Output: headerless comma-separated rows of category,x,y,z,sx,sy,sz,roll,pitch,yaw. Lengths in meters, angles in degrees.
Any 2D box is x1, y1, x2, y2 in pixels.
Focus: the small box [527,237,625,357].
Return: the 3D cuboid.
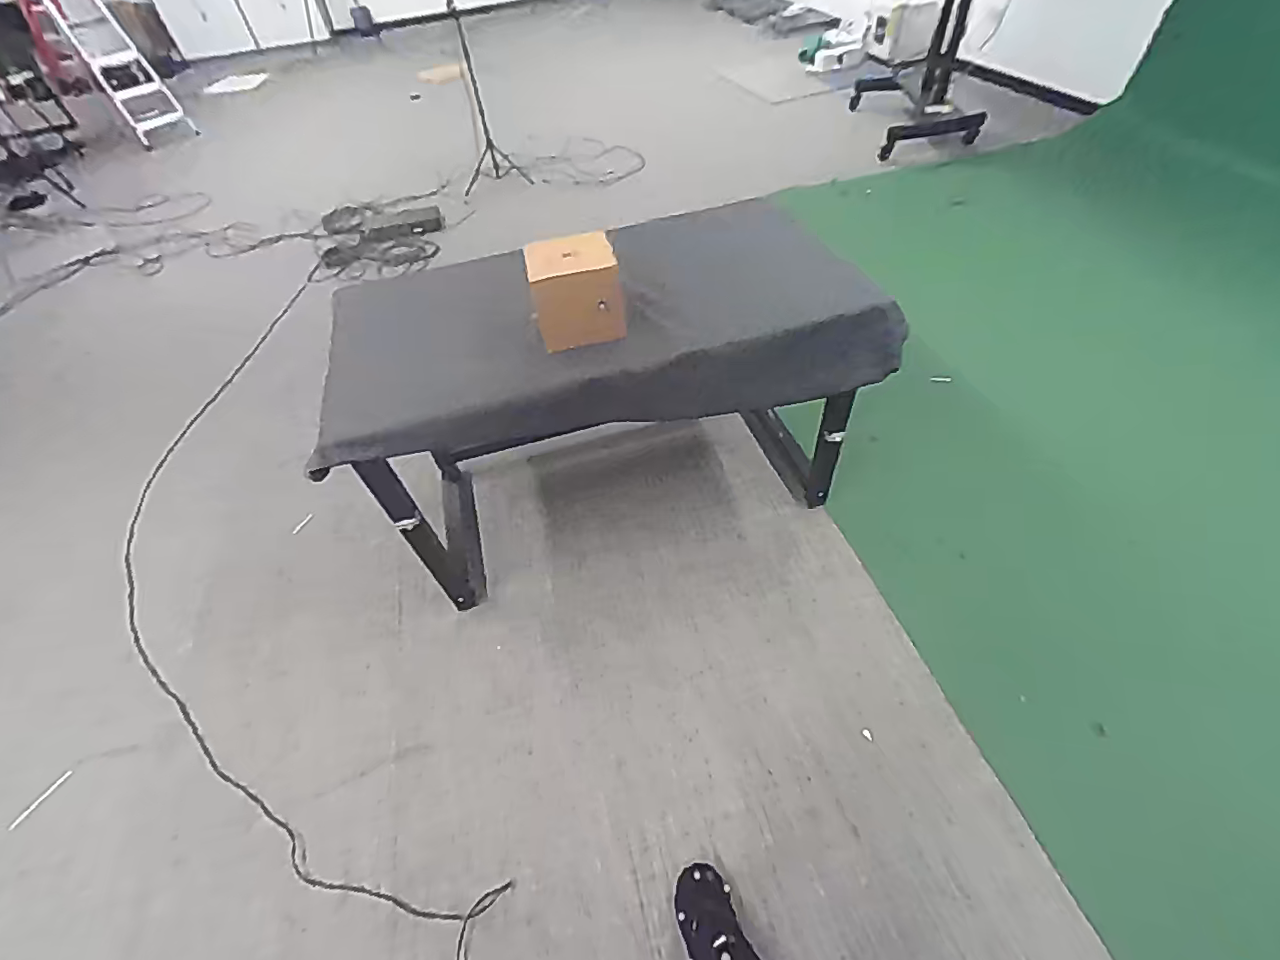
small box,-0.132,-0.390,1.159,0.179,0.176,0.168,-14,48,-4
